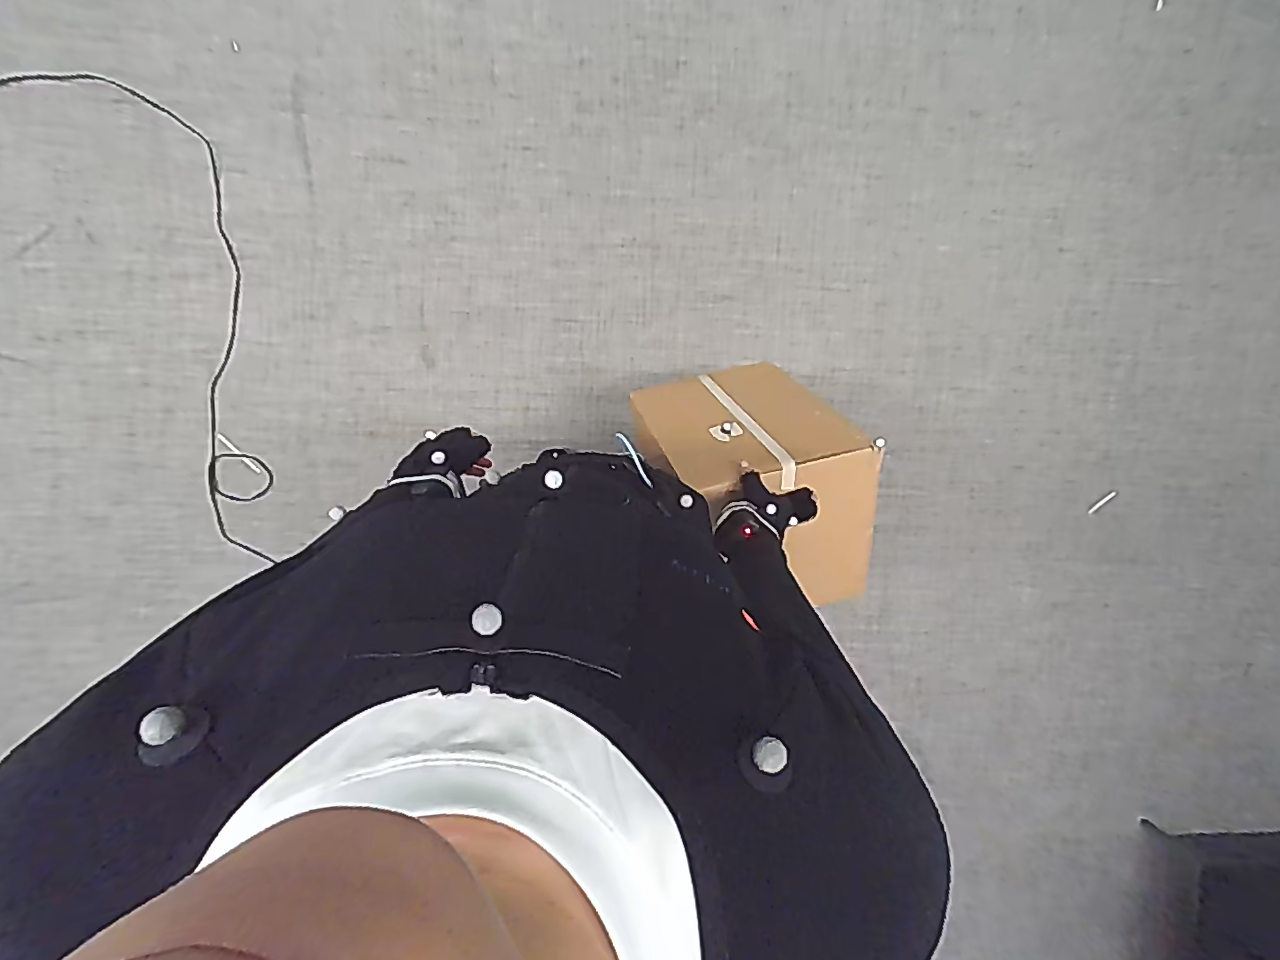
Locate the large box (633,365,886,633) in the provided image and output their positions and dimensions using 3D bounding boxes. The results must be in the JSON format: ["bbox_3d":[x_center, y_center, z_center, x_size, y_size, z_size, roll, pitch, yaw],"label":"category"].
[{"bbox_3d":[0.193,0.013,1.036,0.320,0.408,0.320,-13,123,-7],"label":"large box"}]
